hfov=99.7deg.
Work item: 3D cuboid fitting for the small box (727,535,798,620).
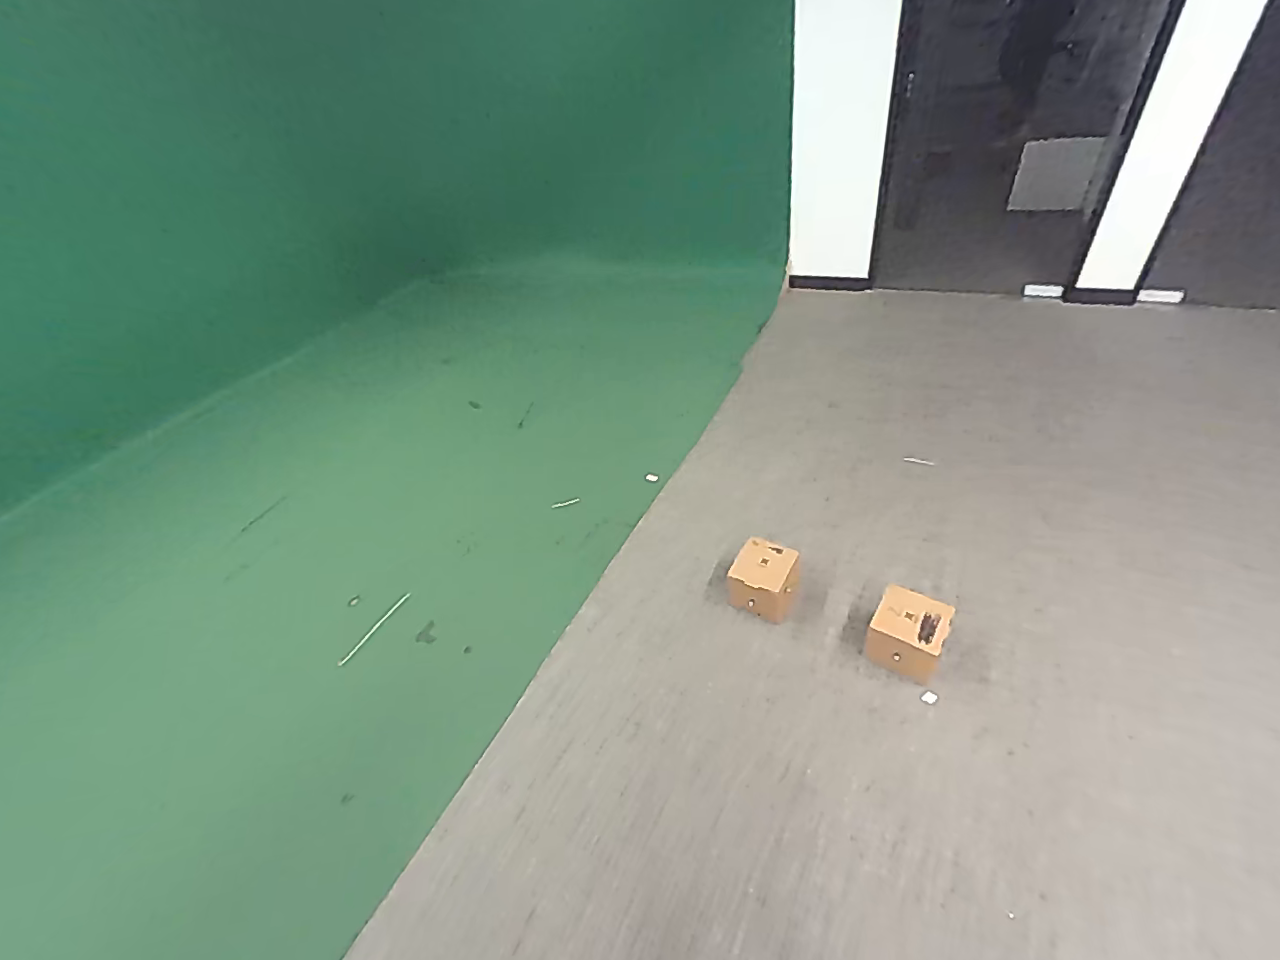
[{"bbox_3d":[0.392,0.312,1.716,0.168,0.176,0.179,18,51,29],"label":"small box"}]
